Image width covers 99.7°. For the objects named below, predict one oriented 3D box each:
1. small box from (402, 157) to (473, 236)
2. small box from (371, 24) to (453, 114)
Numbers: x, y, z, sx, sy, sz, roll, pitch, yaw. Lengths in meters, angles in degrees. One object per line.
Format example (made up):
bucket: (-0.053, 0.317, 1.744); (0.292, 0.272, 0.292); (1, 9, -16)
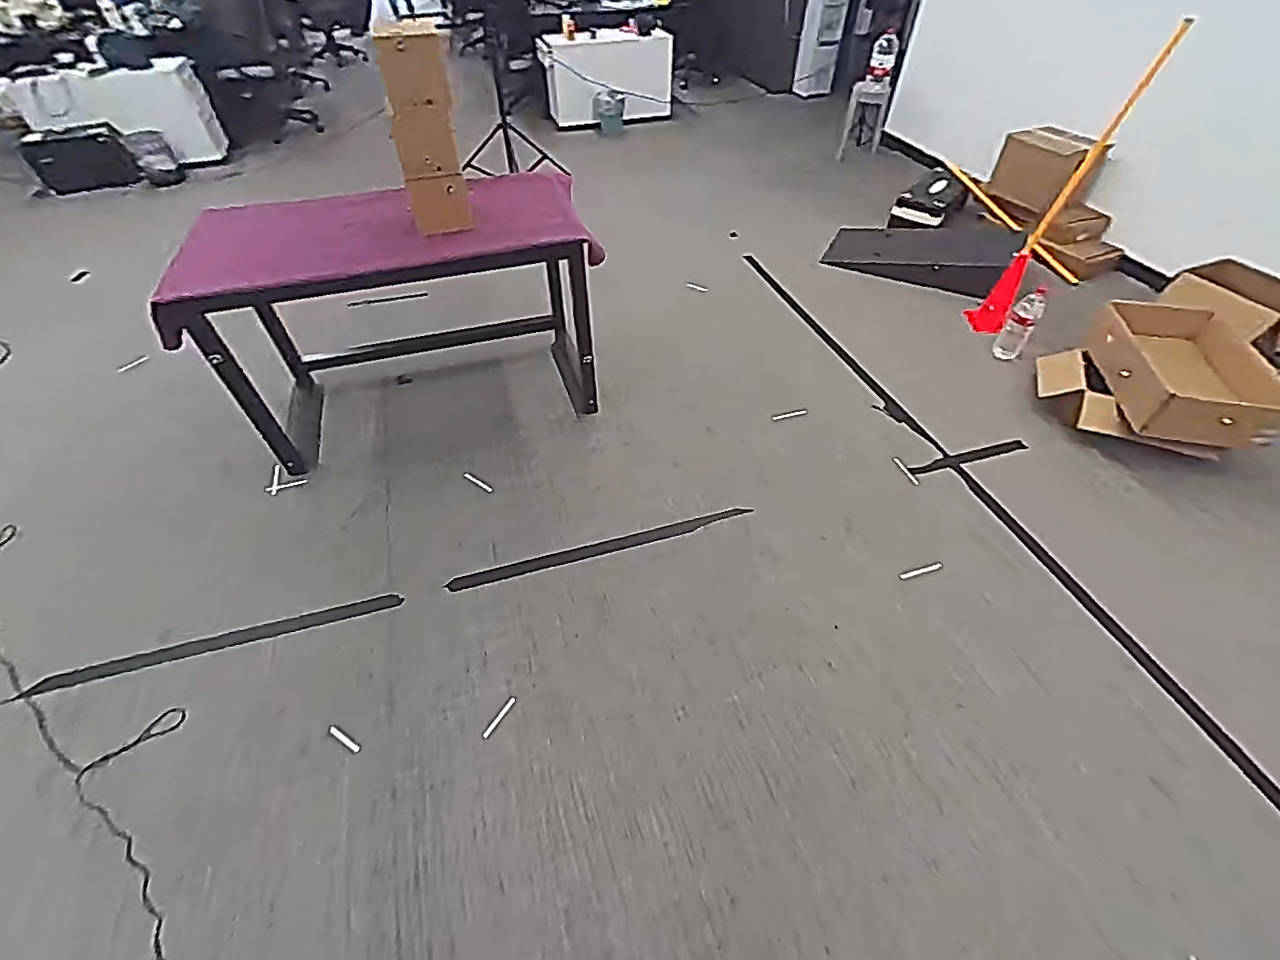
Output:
small box: (-0.637, -0.898, 1.716); (0.179, 0.176, 0.168); (-15, 49, -12)
small box: (-0.620, -1.122, 1.476); (0.168, 0.176, 0.179); (-15, 50, -12)
